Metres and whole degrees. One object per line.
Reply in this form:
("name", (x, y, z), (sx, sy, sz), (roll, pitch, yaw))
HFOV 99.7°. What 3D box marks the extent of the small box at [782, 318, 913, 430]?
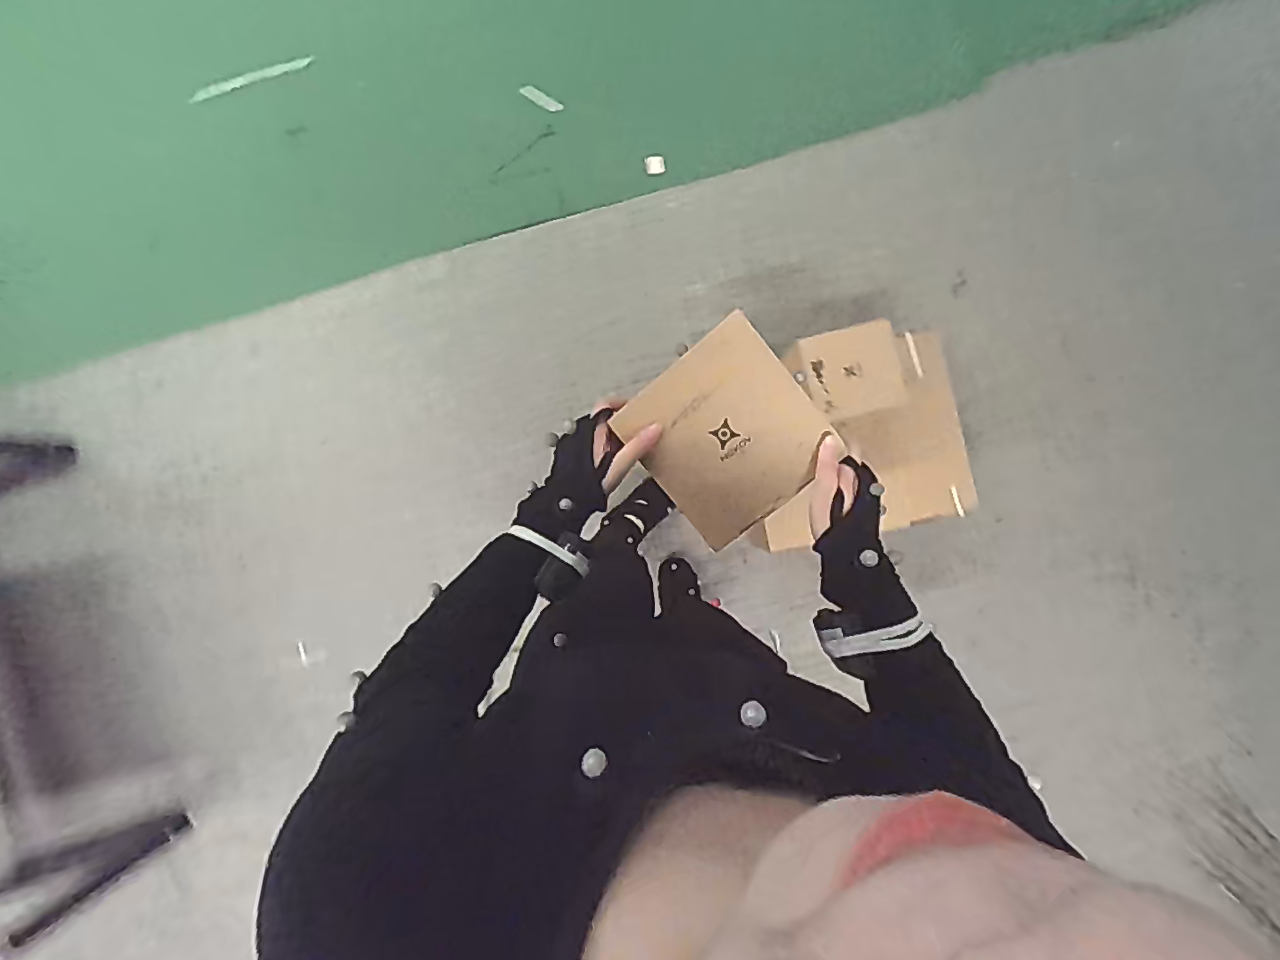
("small box", (0.403, -0.202, 1.077), (0.179, 0.176, 0.168), (-13, 88, 0))
